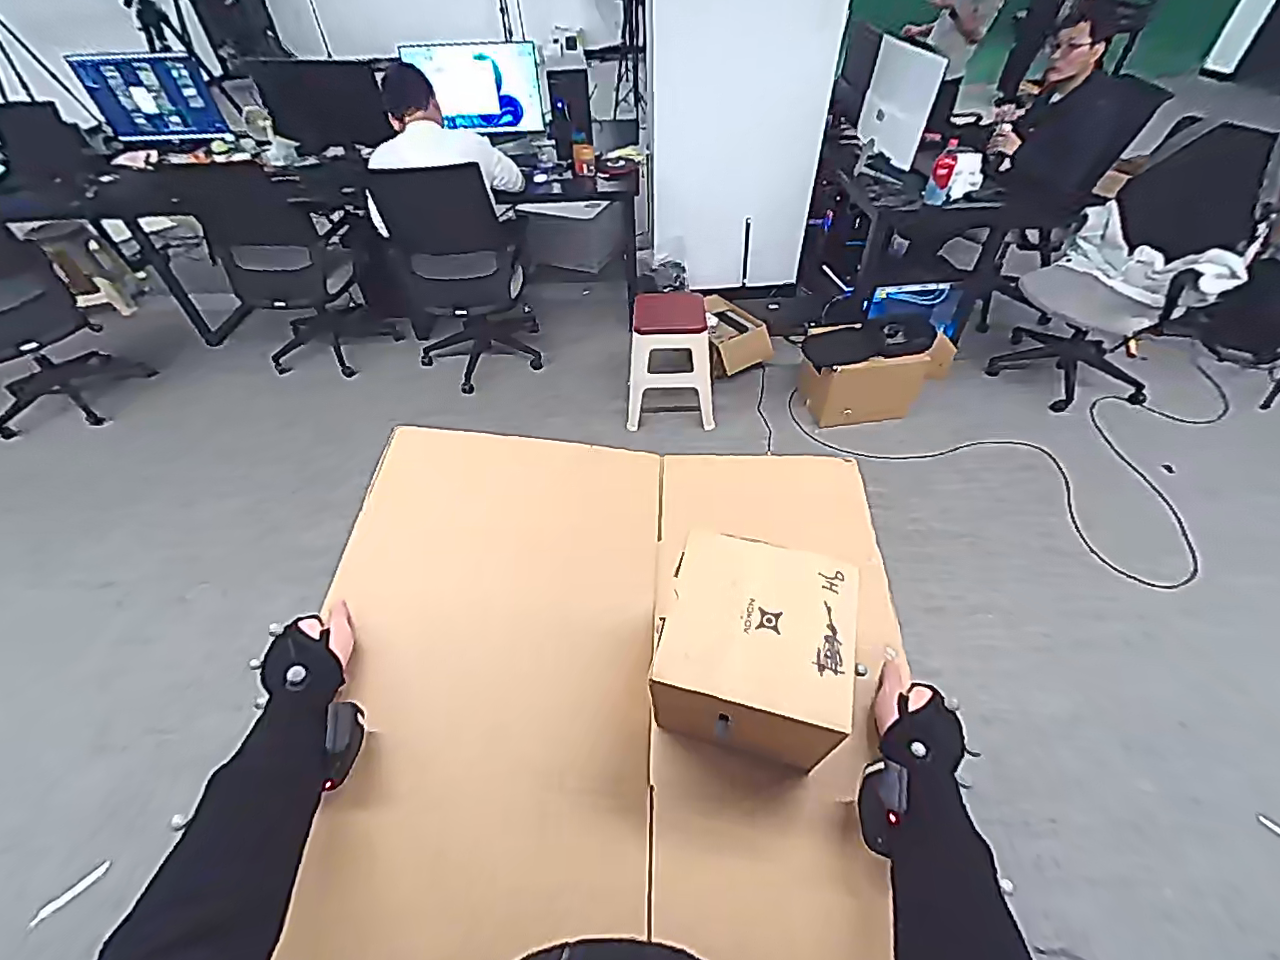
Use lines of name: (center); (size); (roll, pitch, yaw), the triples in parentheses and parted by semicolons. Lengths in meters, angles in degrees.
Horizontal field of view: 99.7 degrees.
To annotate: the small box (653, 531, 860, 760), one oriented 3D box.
small box: (0.122, 0.180, 0.579); (0.179, 0.176, 0.168); (10, 54, 13)
